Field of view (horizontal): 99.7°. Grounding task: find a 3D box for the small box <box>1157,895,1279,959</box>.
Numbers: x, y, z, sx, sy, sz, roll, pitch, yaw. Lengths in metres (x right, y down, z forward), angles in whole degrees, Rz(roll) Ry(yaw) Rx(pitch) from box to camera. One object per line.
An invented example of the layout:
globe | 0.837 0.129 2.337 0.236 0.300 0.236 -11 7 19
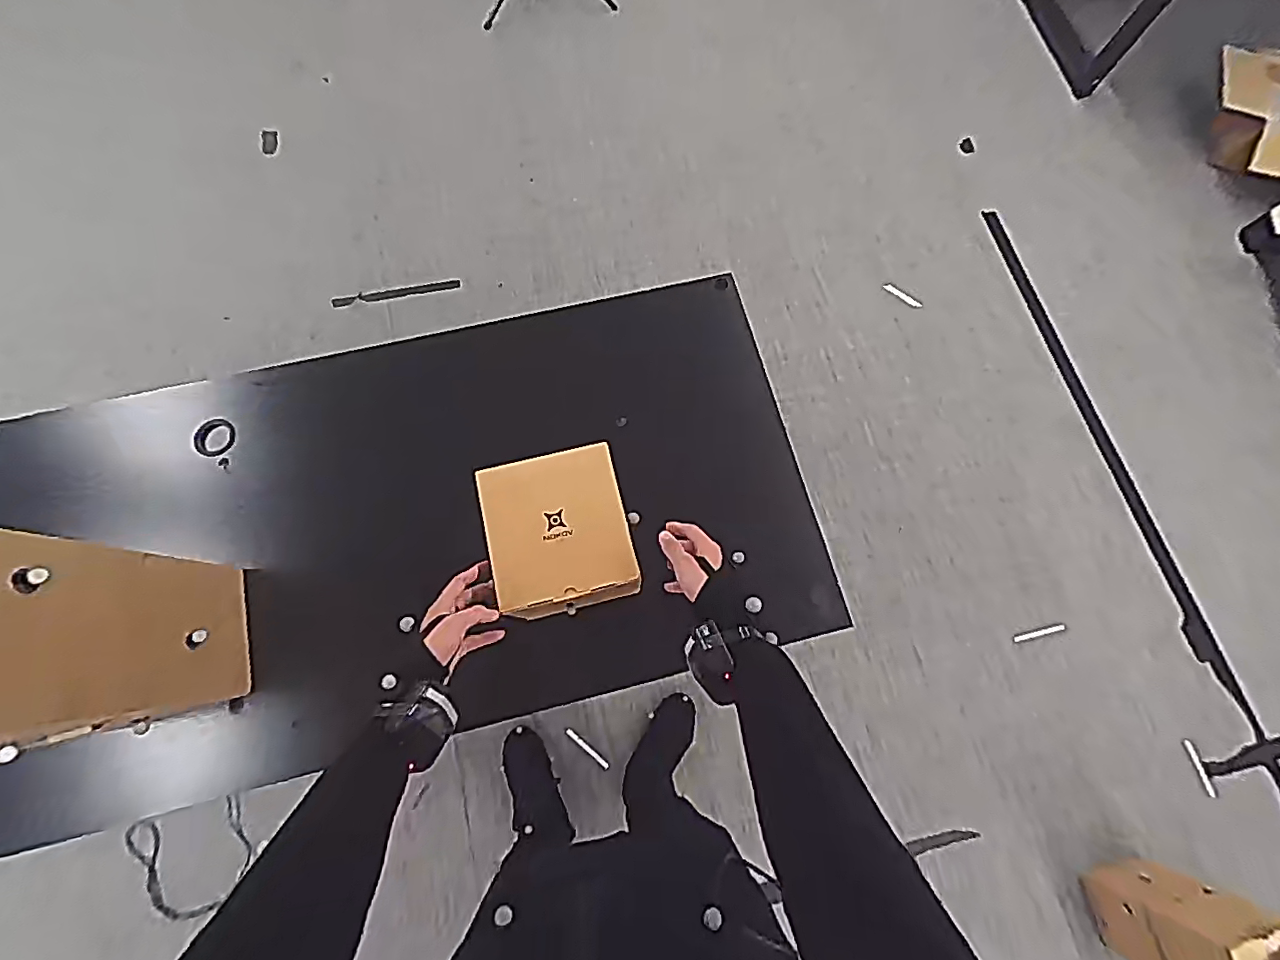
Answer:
small box | 1.201 0.965 1.071 0.168 0.176 0.179 -13 76 -5

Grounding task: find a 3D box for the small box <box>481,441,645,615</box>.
small box | -0.096 0.071 0.708 0.168 0.176 0.179 -14 75 -5

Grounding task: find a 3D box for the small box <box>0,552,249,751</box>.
small box | -0.615 0.199 0.658 0.168 0.176 0.179 -15 76 -6

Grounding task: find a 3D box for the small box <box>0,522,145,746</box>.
small box | -0.611 0.153 0.500 0.168 0.176 0.179 -14 75 -5
